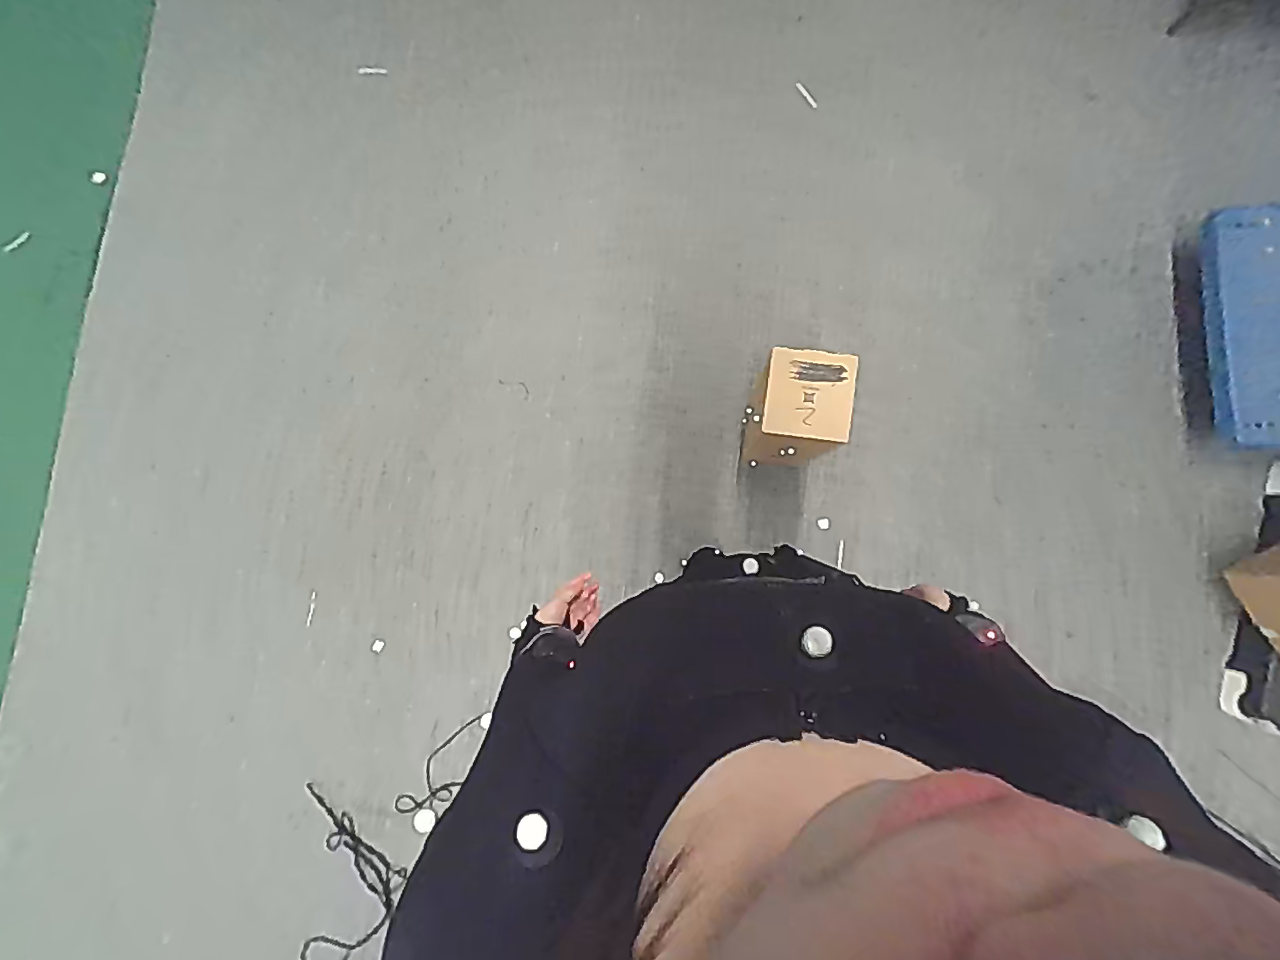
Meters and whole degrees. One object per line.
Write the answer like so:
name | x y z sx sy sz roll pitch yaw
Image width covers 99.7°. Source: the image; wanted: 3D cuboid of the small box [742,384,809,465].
small box | 0.367 -0.142 1.444 0.168 0.176 0.179 8 85 7

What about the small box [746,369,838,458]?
small box | 0.351 -0.151 1.280 0.179 0.176 0.168 8 86 7
